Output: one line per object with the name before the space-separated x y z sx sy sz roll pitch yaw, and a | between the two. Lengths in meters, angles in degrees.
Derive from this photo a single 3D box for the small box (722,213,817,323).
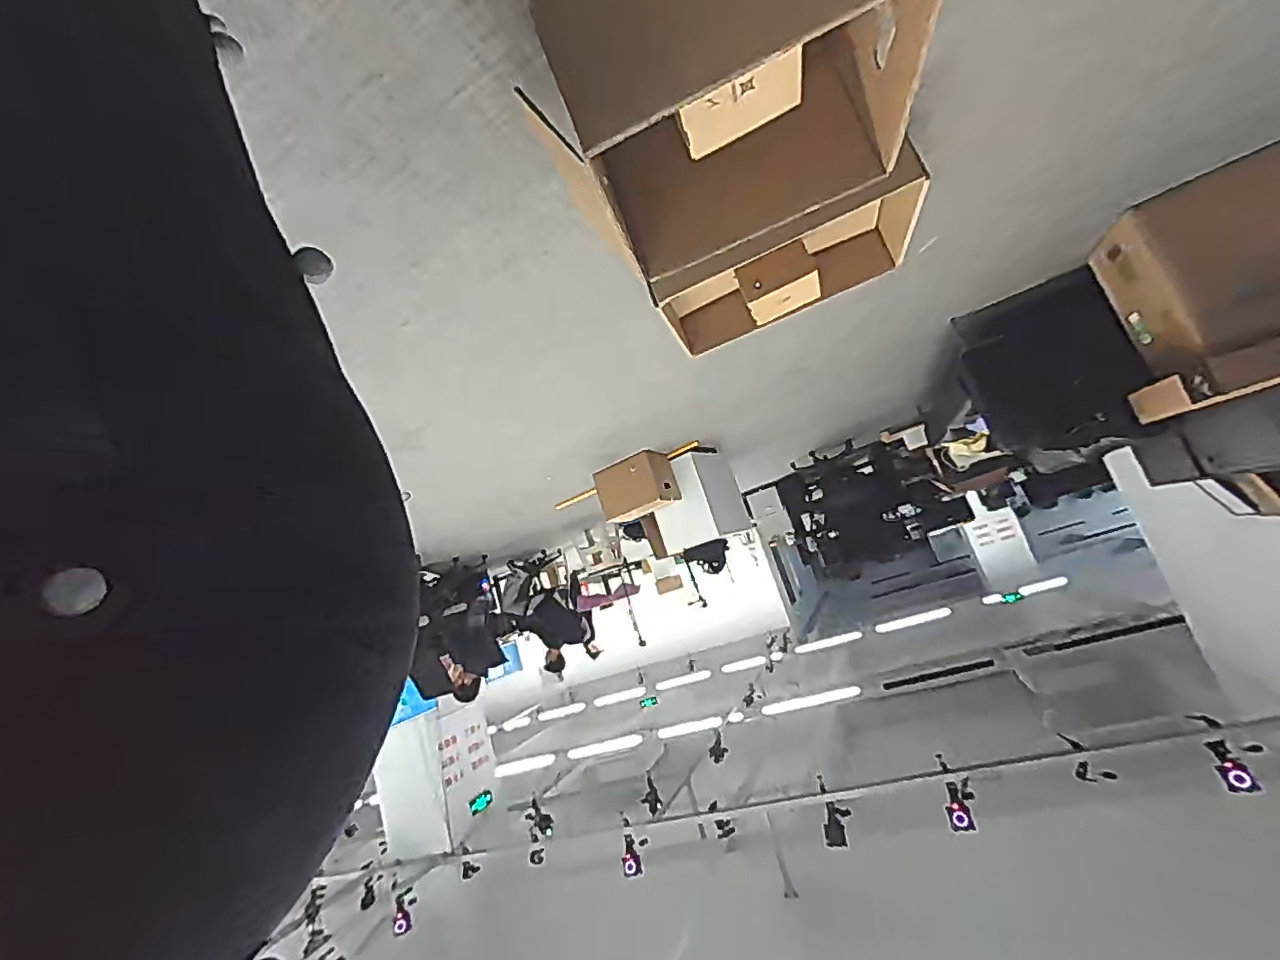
small box | 0.329 -0.534 1.369 0.179 0.176 0.168 -22 169 19
